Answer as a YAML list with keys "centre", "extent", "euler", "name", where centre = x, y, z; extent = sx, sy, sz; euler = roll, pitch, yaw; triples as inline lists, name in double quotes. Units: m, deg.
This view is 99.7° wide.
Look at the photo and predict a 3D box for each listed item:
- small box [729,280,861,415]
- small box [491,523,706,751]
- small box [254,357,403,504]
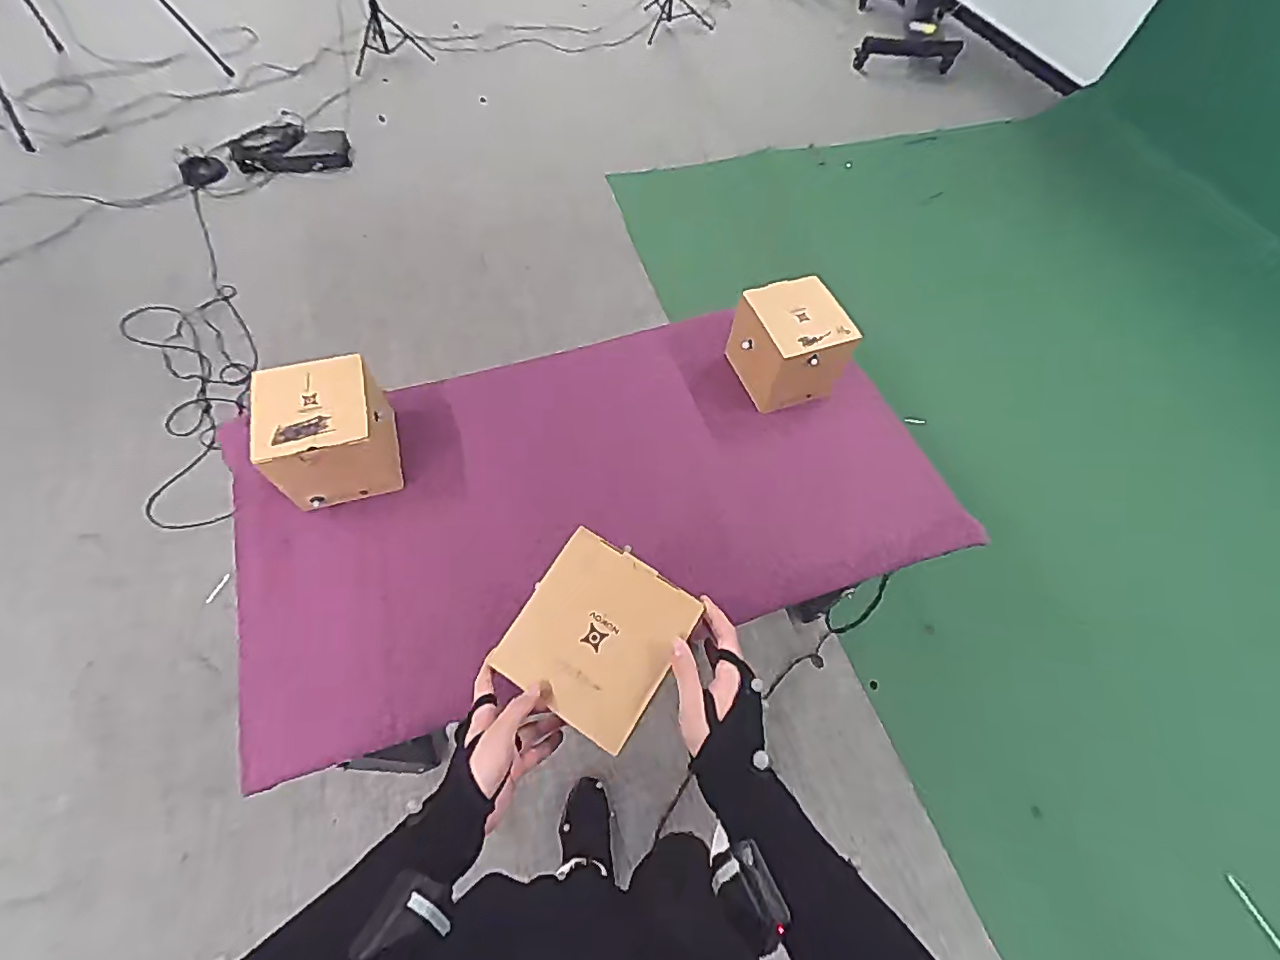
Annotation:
- centre: [0.292, -0.258, 1.067]
  extent: [0.168, 0.176, 0.179]
  euler: [-17, 62, -12]
  name: "small box"
- centre: [-0.038, 0.179, 0.641]
  extent: [0.168, 0.176, 0.179]
  euler: [31, 79, 14]
  name: "small box"
- centre: [-0.511, -0.074, 0.906]
  extent: [0.168, 0.176, 0.179]
  euler: [-14, 63, -12]
  name: "small box"
